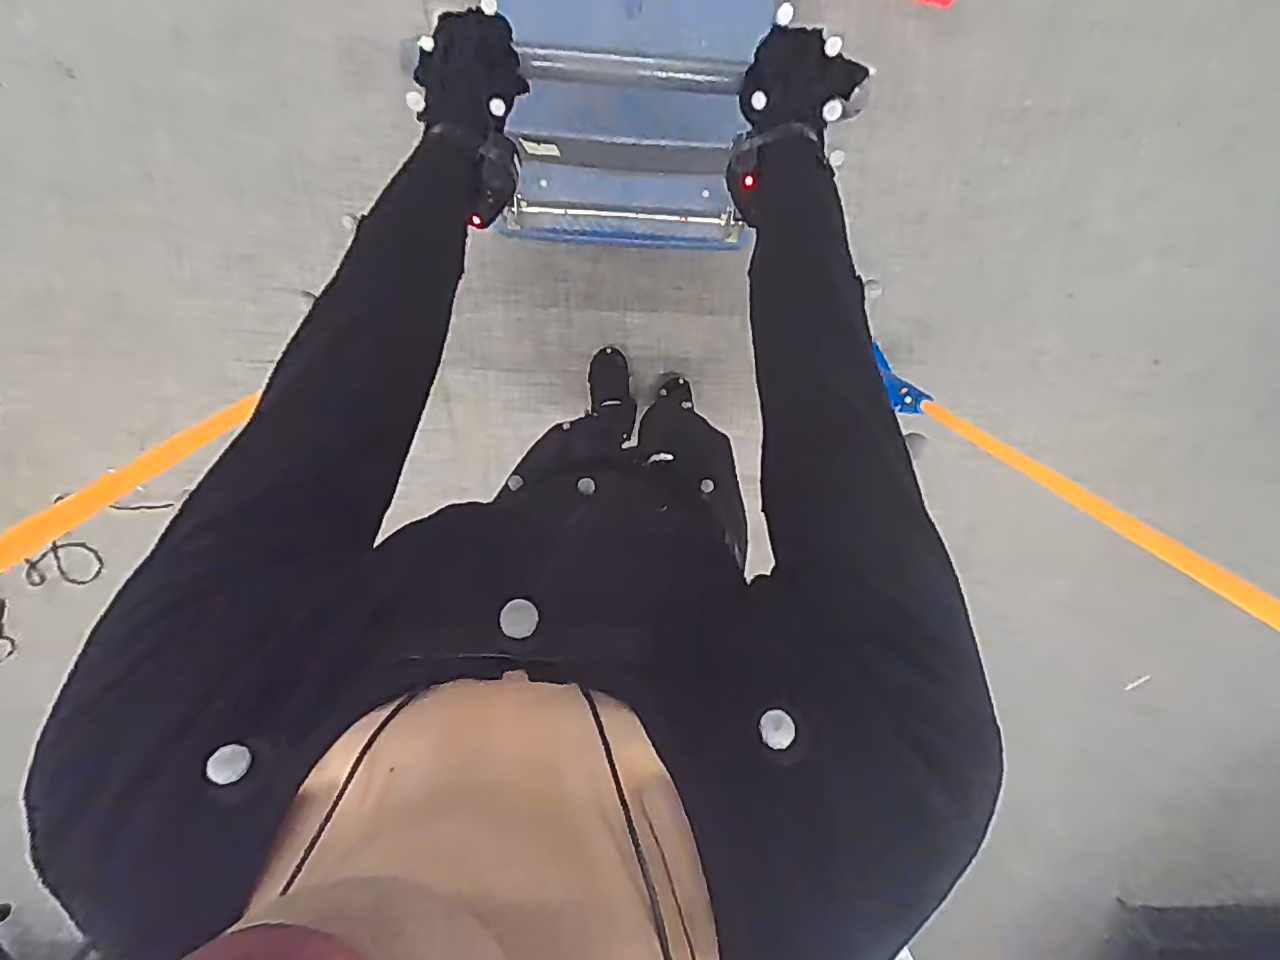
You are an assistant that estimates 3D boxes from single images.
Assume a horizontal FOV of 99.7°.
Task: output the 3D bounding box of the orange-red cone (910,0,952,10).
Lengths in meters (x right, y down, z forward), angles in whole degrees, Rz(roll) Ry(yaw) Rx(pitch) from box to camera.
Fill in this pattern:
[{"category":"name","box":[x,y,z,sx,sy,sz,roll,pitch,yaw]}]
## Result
[{"category":"orange-red cone","box":[0.647,-1.143,1.049,0.198,0.360,0.199,13,106,-5]}]
